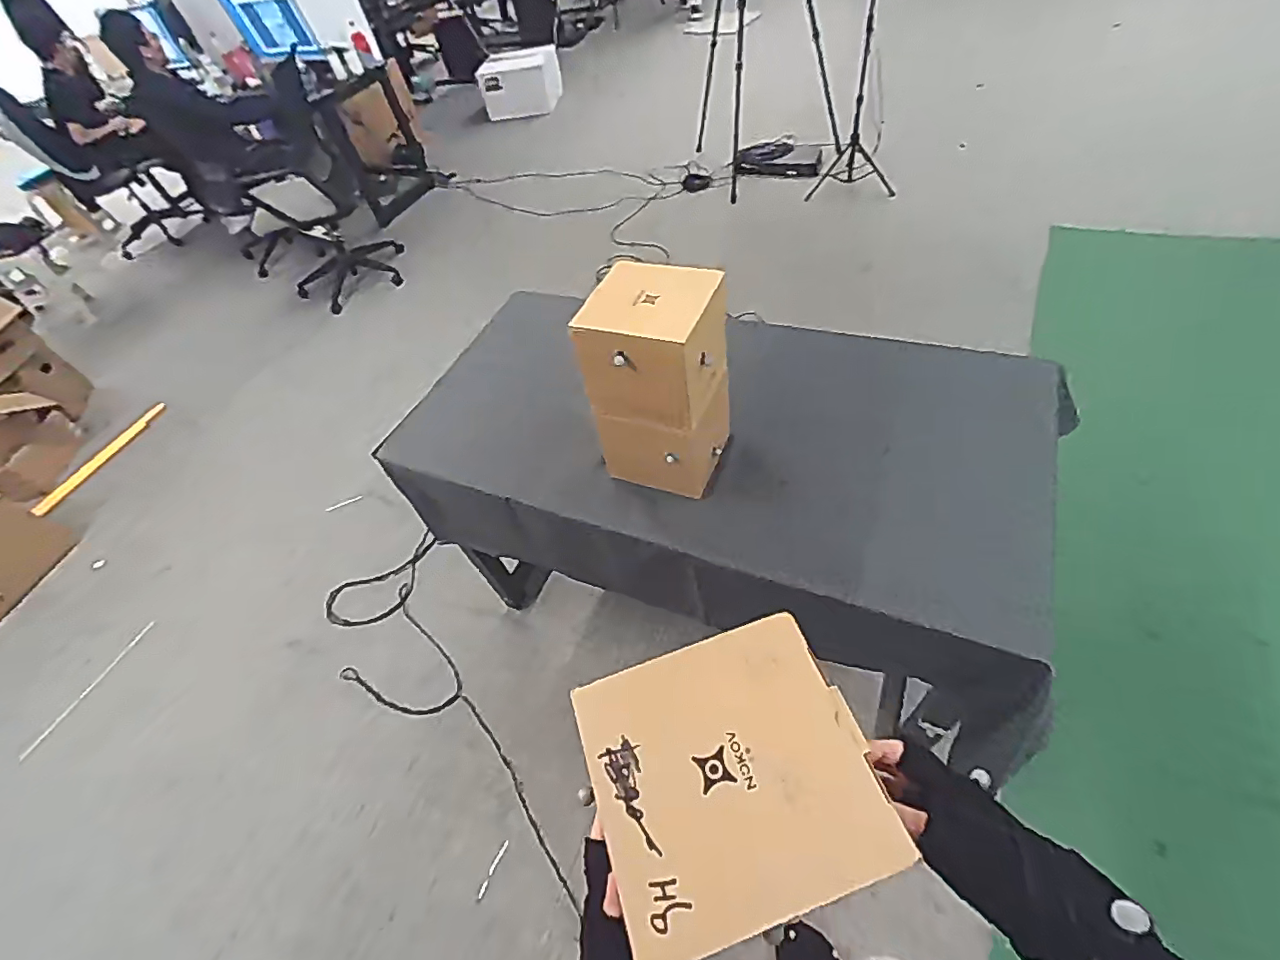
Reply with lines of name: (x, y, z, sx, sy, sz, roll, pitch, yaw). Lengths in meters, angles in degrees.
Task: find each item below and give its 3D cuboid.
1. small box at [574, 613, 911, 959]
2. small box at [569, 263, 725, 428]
small box: (0.062, 0.233, 0.418, 0.179, 0.176, 0.168, -17, 51, -7)
small box: (0.023, -0.200, 0.817, 0.179, 0.176, 0.168, 14, 56, 21)
